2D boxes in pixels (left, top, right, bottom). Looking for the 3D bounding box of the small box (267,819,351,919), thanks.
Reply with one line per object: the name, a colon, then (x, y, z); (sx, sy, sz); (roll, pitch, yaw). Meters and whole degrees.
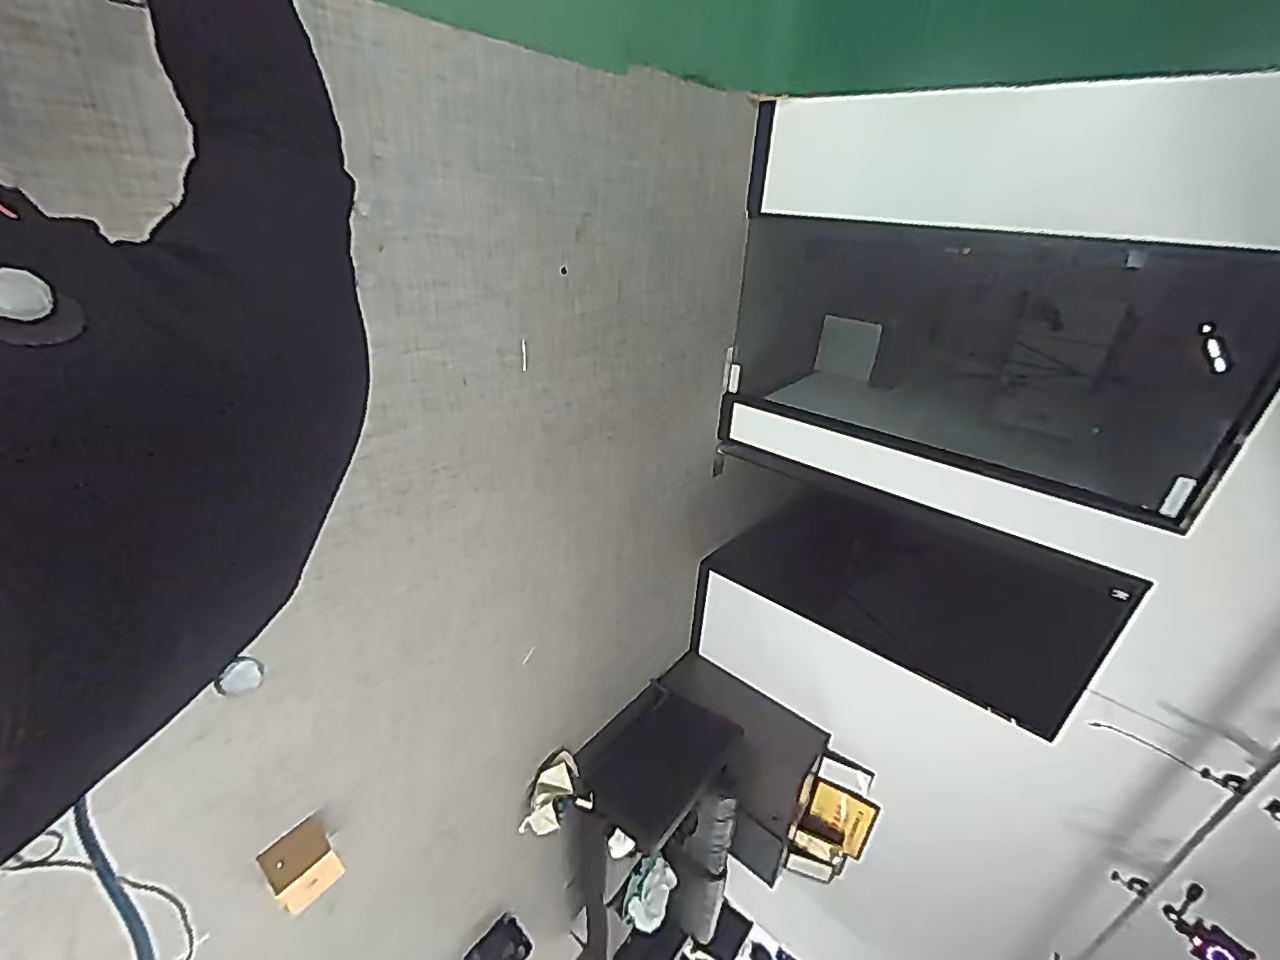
small box: (-1.111, 1.296, 1.809); (0.179, 0.176, 0.168); (-33, 135, -41)
